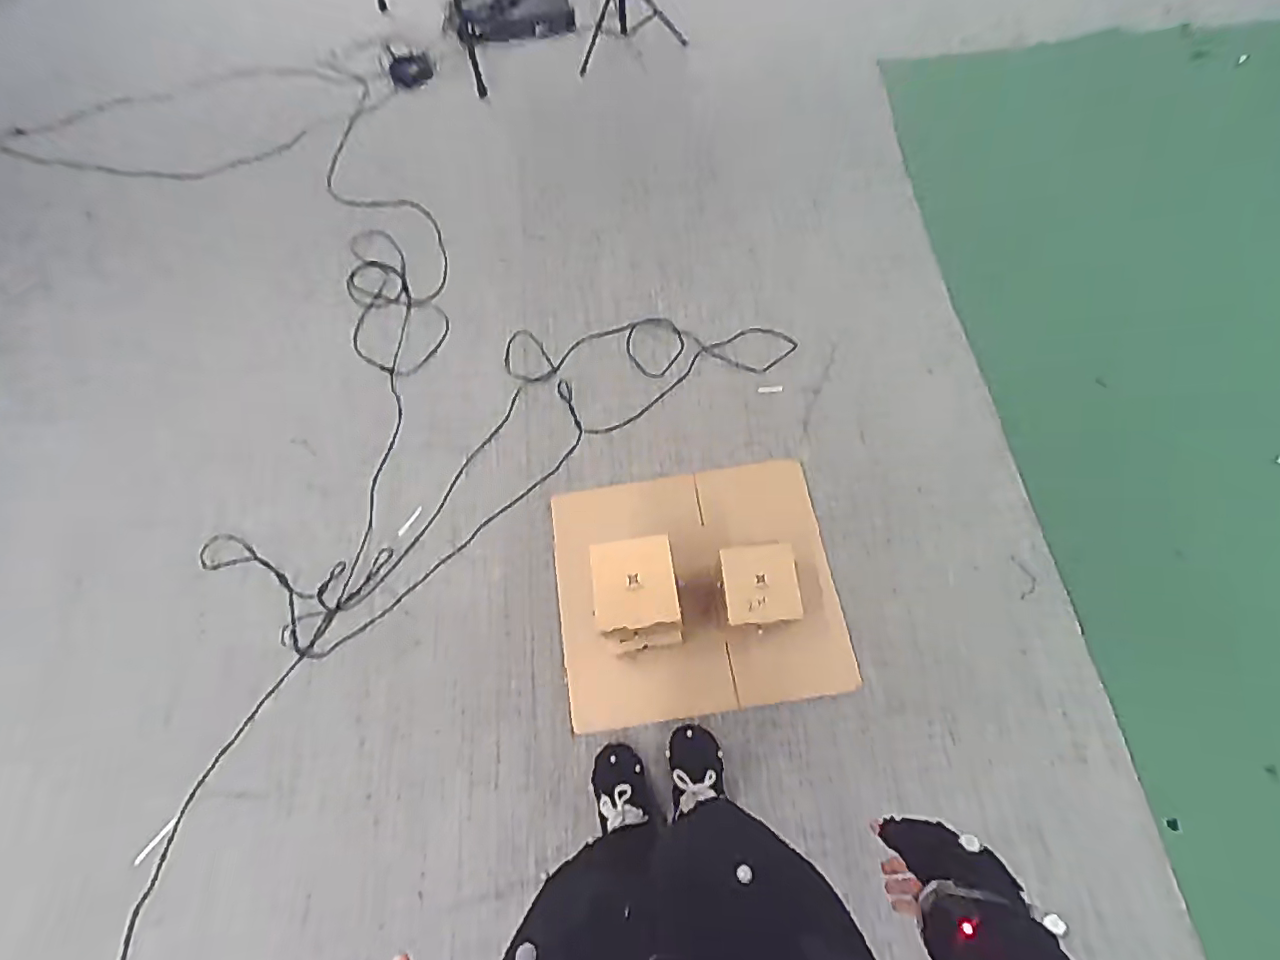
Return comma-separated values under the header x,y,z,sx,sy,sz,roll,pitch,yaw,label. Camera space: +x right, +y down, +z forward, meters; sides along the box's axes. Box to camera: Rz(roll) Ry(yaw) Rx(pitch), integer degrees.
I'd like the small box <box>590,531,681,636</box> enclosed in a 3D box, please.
x,y,z,sx,sy,sz,roll,pitch,yaw,label
-0.009,0.224,1.144,0.168,0.176,0.179,-8,69,0,small box

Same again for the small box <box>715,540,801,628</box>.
x,y,z,sx,sy,sz,roll,pitch,yaw,label
0.273,0.252,1.293,0.168,0.176,0.179,-5,70,3,small box

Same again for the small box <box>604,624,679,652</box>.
x,y,z,sx,sy,sz,roll,pitch,yaw,label
0.000,0.309,1.286,0.168,0.176,0.179,-11,69,-1,small box
